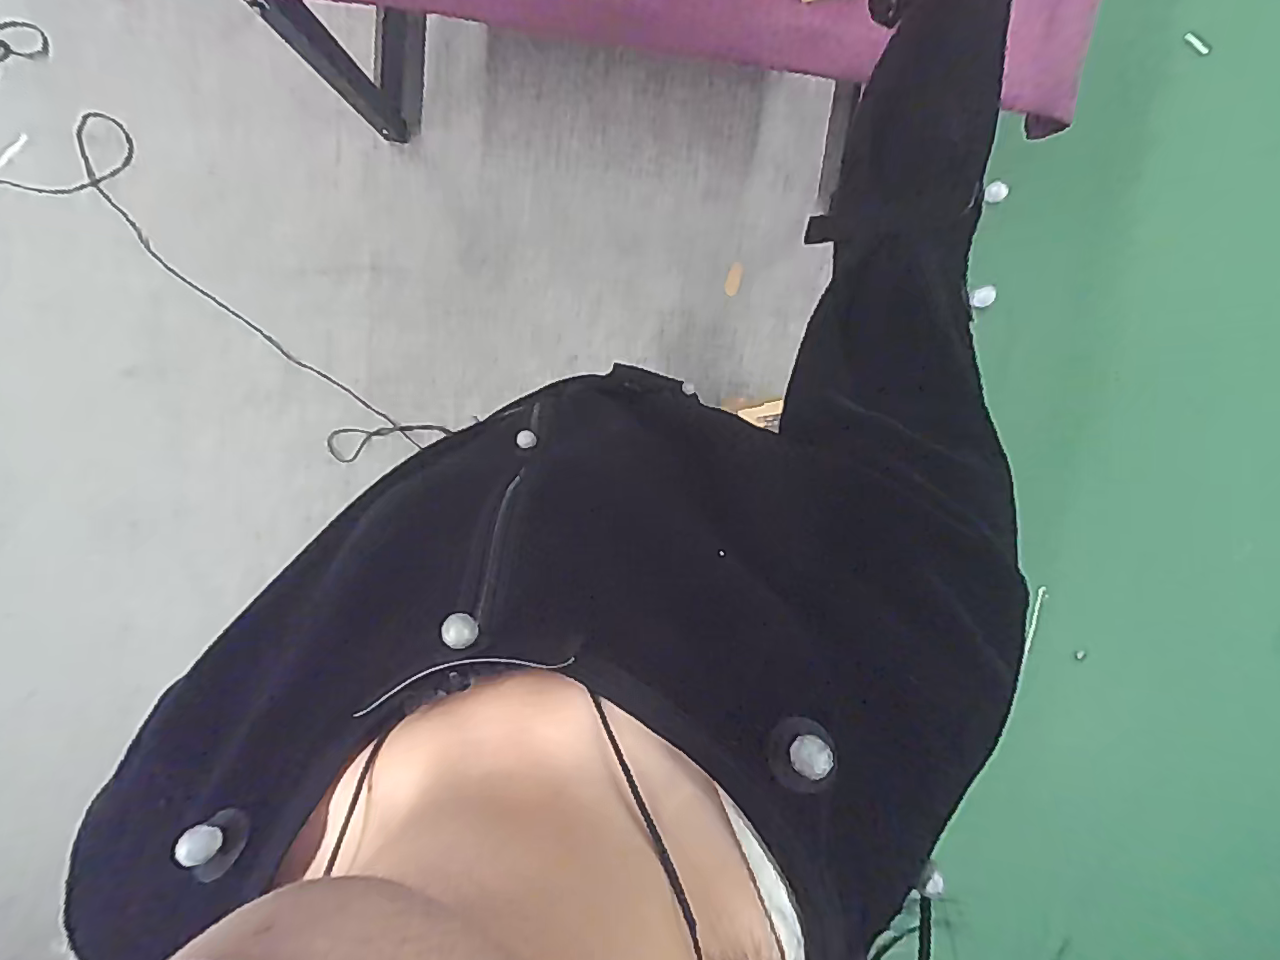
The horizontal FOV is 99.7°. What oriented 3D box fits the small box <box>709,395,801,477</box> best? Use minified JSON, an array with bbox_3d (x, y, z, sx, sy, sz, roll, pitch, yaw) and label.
[{"bbox_3d":[0.292,-0.122,1.426,0.179,0.176,0.168,17,100,-5],"label":"small box"}]
